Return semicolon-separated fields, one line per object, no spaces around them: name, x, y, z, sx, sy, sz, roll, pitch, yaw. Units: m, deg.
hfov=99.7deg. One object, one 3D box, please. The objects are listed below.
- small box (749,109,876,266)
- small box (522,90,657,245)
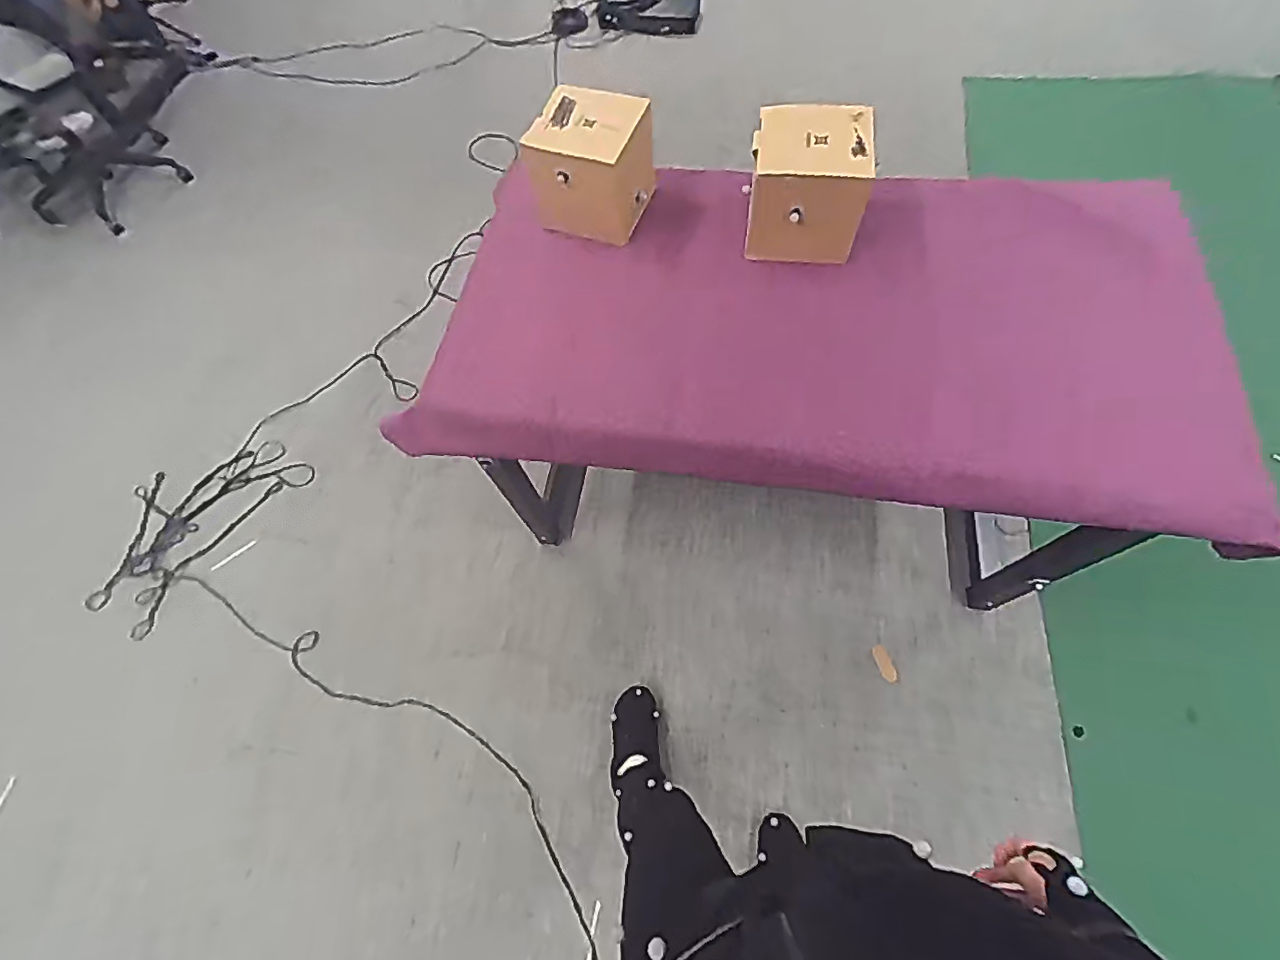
small box;0.279;-0.480;0.902;0.179;0.176;0.168;6;67;9
small box;-0.079;-0.550;0.965;0.179;0.176;0.168;18;69;12
